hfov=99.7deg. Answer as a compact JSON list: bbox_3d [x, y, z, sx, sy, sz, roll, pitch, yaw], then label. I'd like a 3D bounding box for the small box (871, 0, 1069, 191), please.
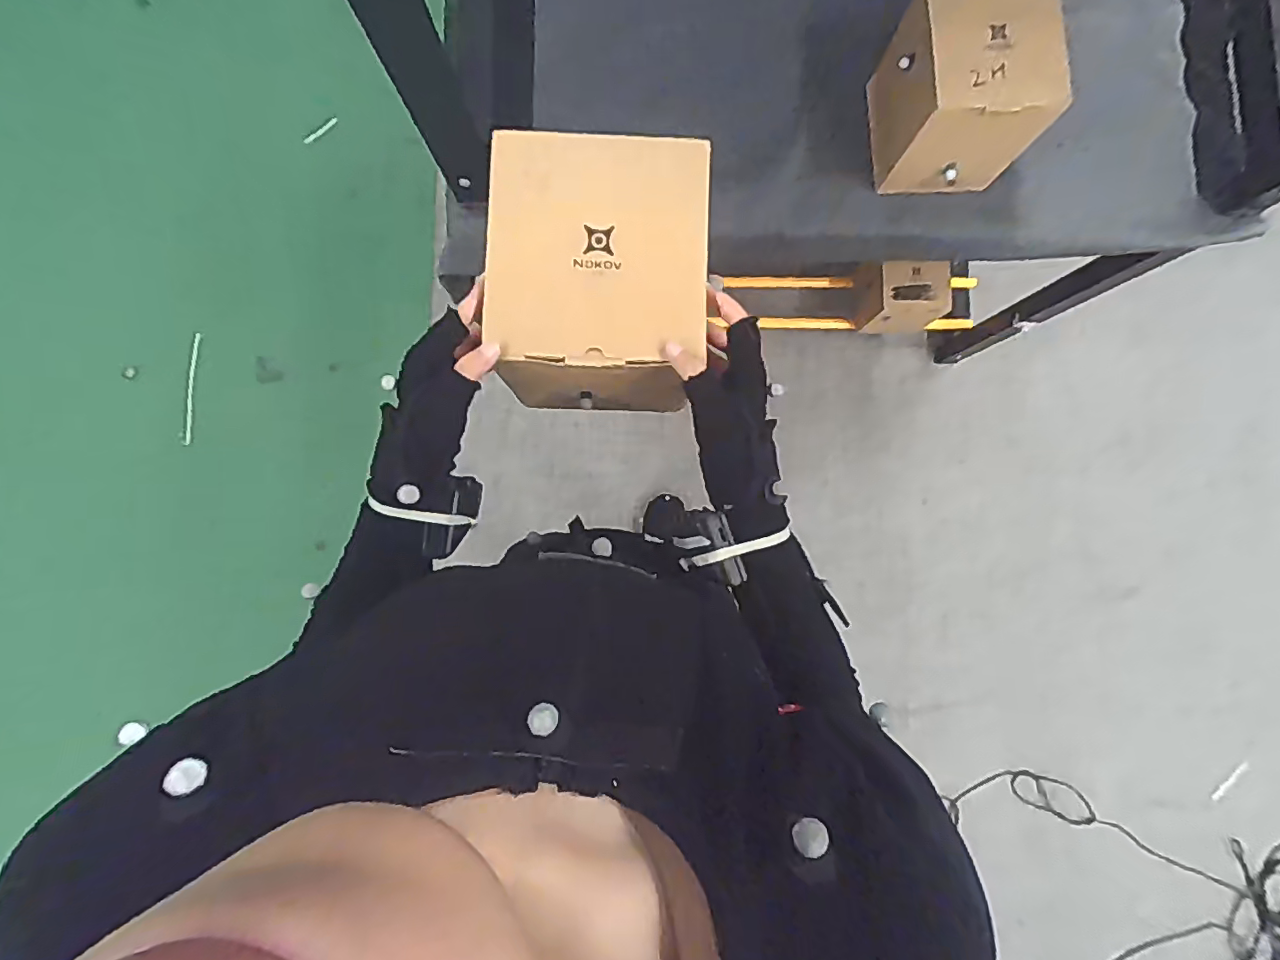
[{"bbox_3d":[0.432,-0.528,0.738,0.168,0.176,0.179,-2,85,-1],"label":"small box"}]
